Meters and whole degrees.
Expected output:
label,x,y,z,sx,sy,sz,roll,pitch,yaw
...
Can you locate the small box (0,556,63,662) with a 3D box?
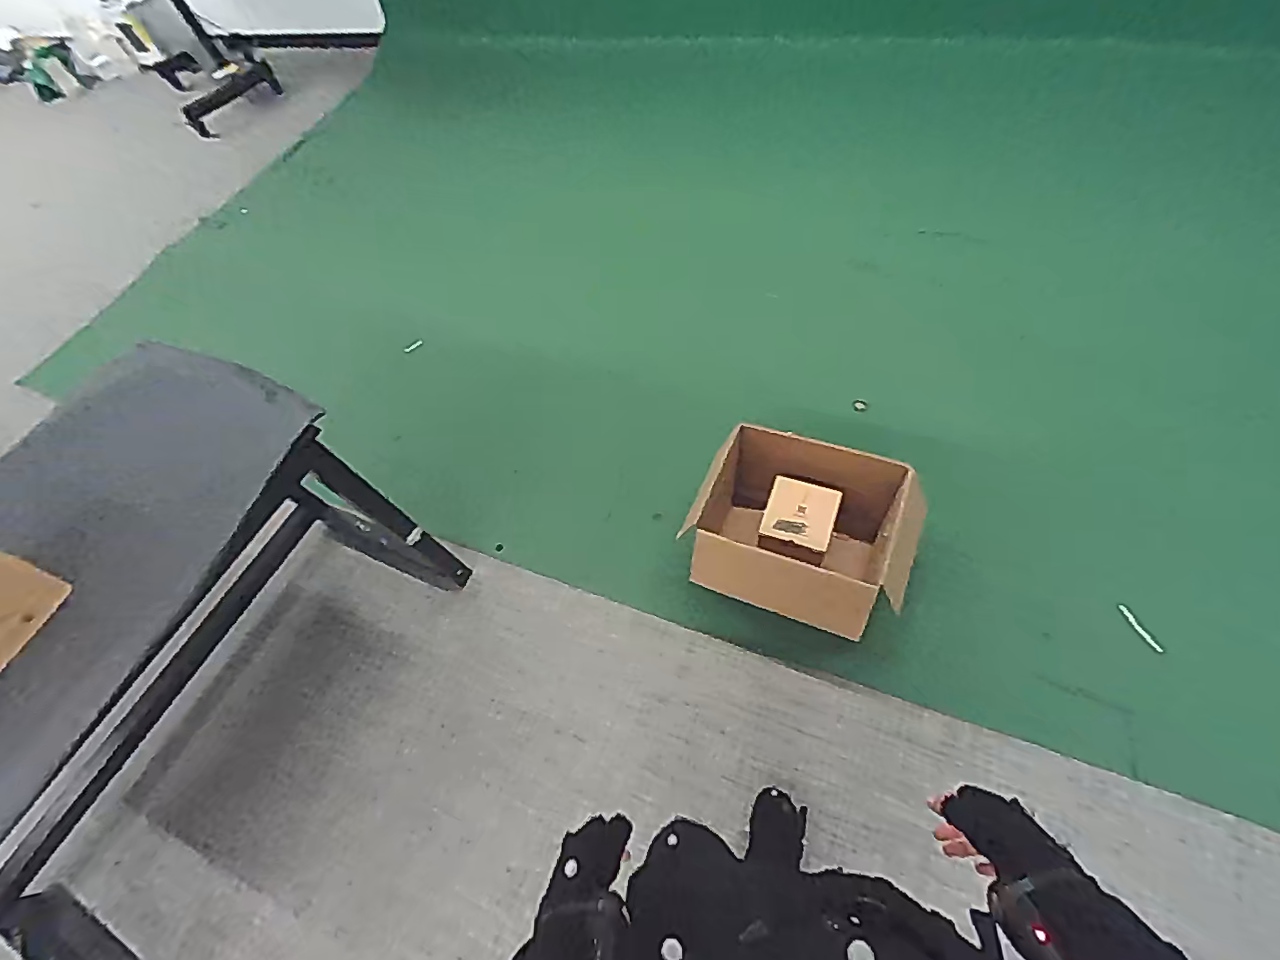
label,x,y,z,sx,sy,sz,roll,pitch,yaw
small box,-1.032,0.183,0.790,0.179,0.176,0.168,14,64,18
